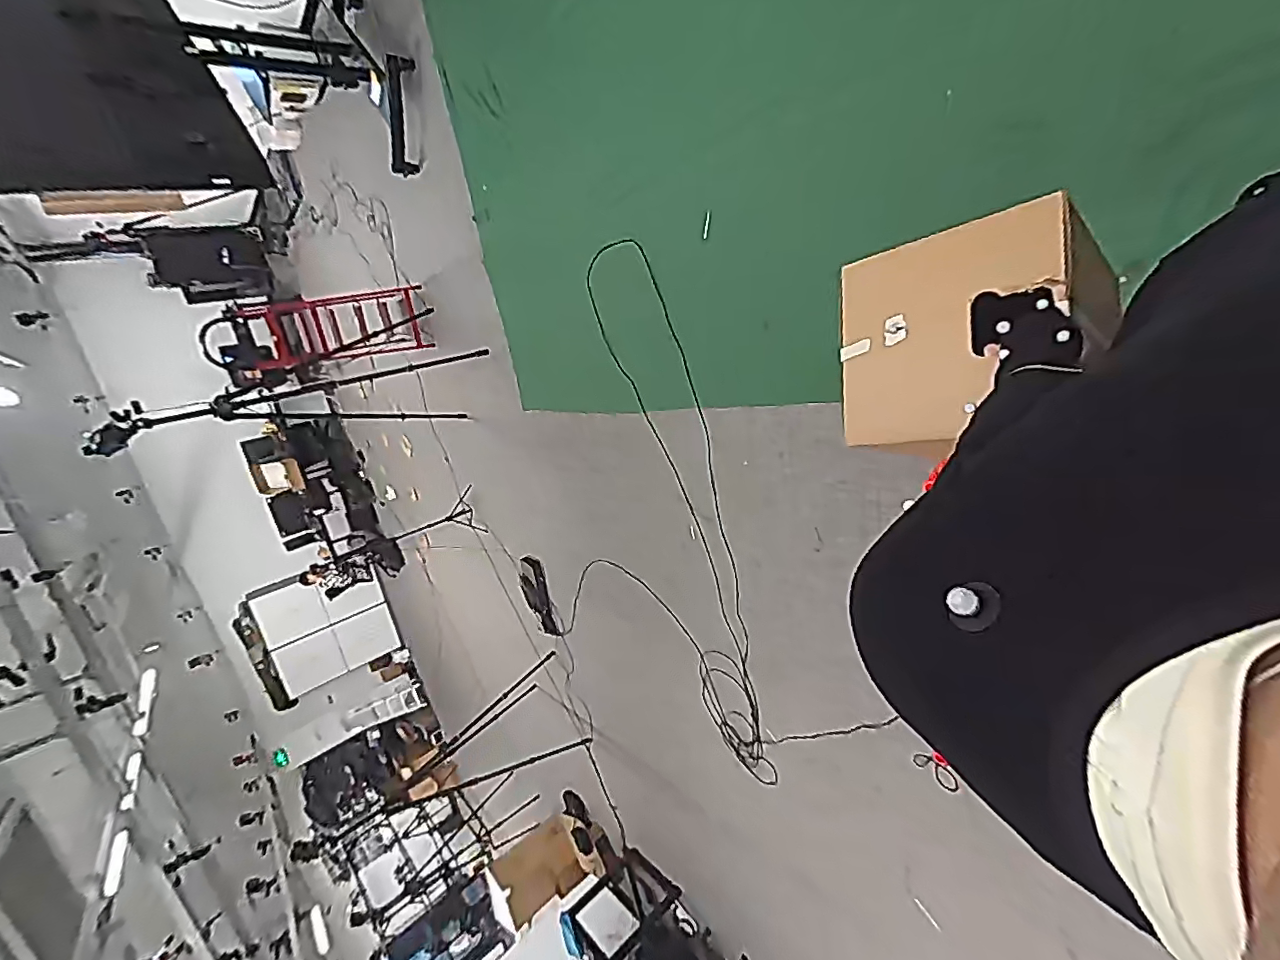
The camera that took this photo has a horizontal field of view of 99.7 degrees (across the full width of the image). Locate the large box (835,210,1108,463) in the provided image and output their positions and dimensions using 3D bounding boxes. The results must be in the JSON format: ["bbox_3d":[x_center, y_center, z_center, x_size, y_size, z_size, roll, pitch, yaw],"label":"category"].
[{"bbox_3d":[0.583,-0.199,0.950,0.320,0.408,0.320,-2,86,48],"label":"large box"}]
